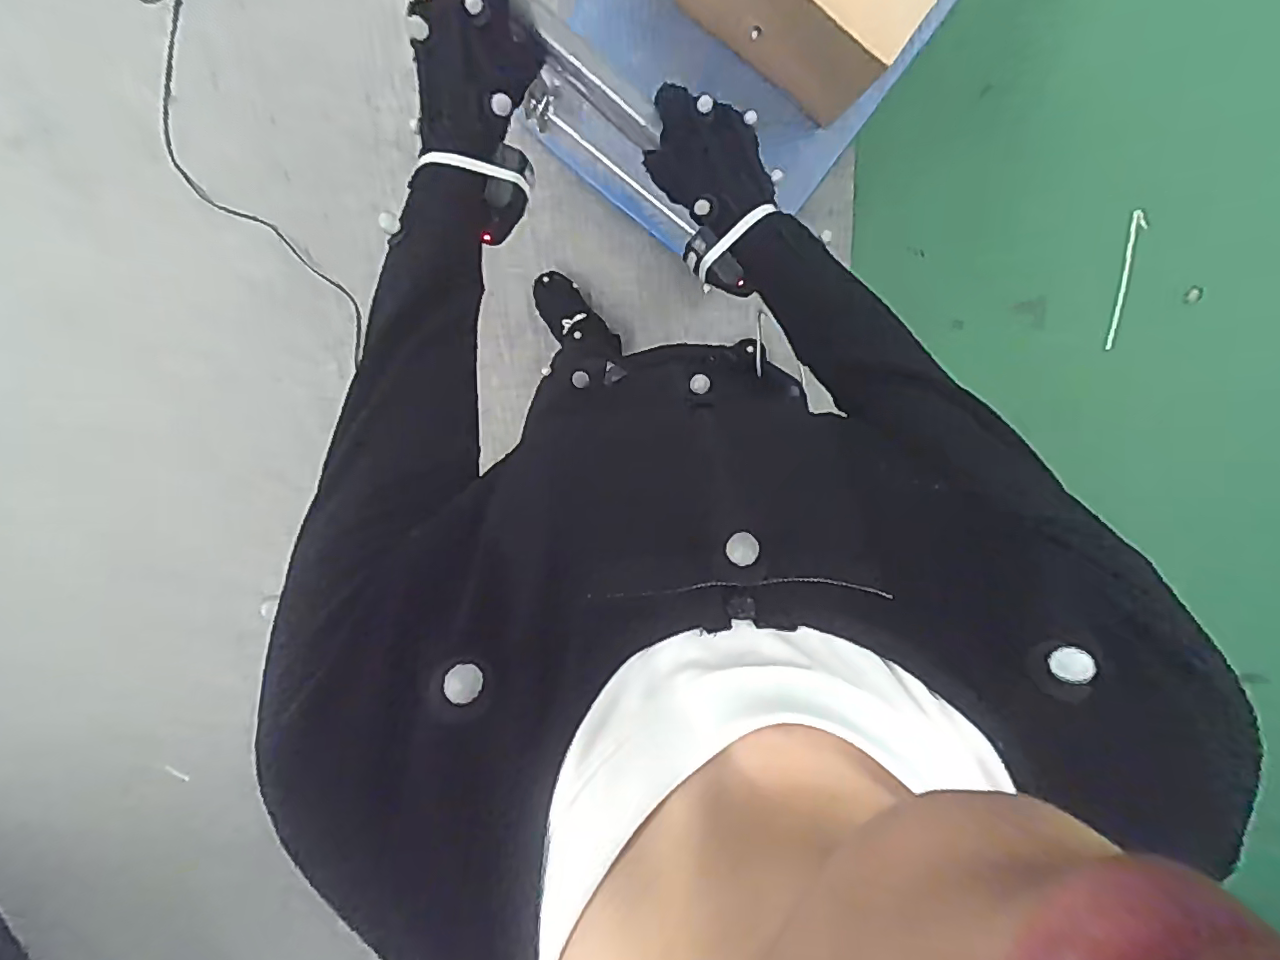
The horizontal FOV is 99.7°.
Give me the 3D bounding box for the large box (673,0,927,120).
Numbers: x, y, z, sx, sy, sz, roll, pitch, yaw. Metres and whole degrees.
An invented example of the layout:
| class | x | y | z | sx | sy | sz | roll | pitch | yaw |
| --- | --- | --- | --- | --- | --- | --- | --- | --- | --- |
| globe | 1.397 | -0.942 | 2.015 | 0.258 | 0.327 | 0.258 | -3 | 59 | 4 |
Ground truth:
| class | x | y | z | sx | sy | sz | roll | pitch | yaw |
| --- | --- | --- | --- | --- | --- | --- | --- | --- | --- |
| large box | 0.278 | -0.876 | 0.854 | 0.408 | 0.320 | 0.320 | 33 | 106 | -9 |
